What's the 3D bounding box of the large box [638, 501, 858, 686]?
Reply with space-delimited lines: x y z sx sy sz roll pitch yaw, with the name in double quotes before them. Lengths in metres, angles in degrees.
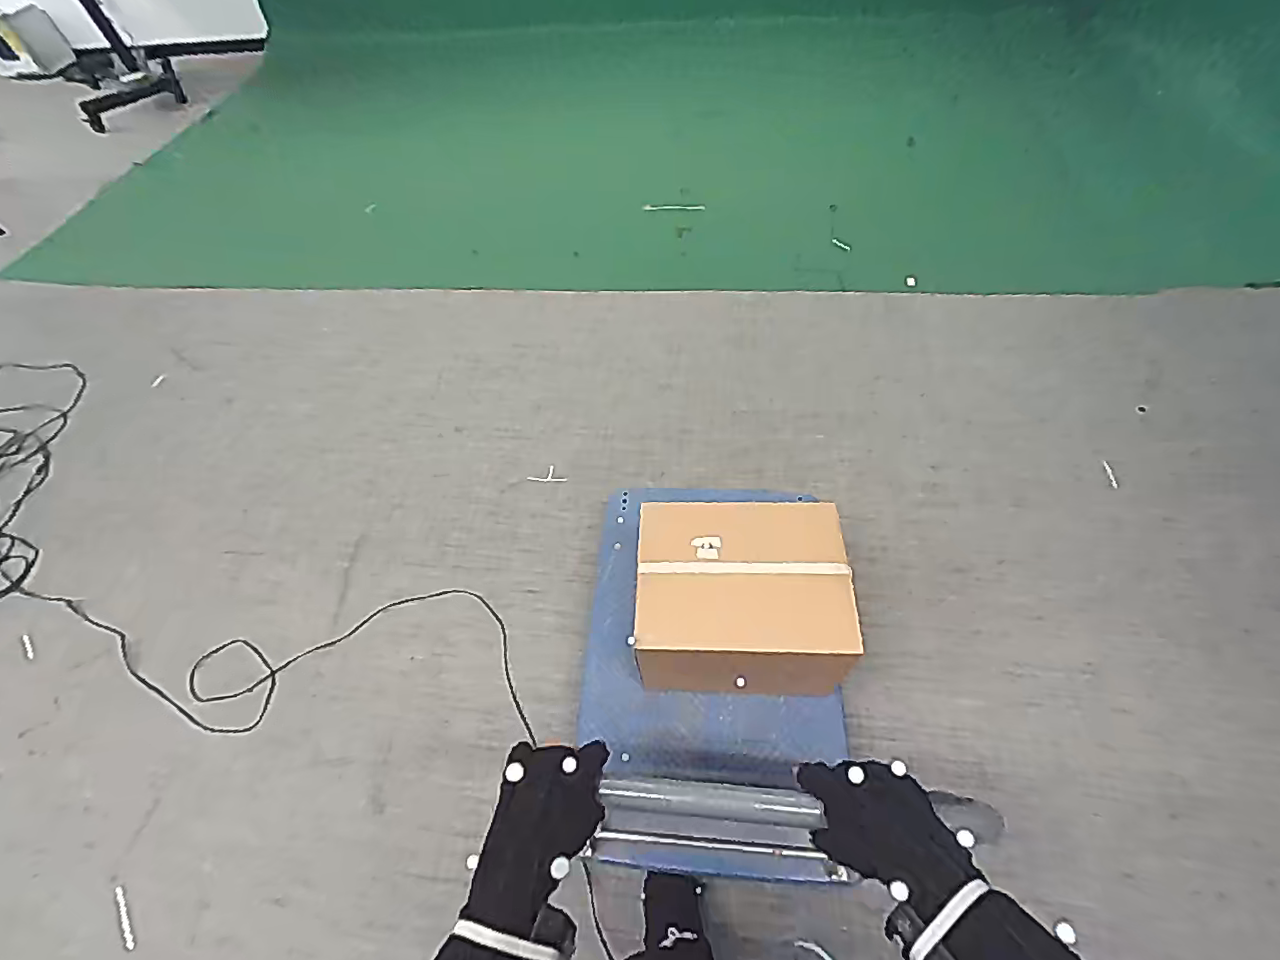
"large box" 0.212 0.261 1.184 0.408 0.320 0.320 -2 55 5
